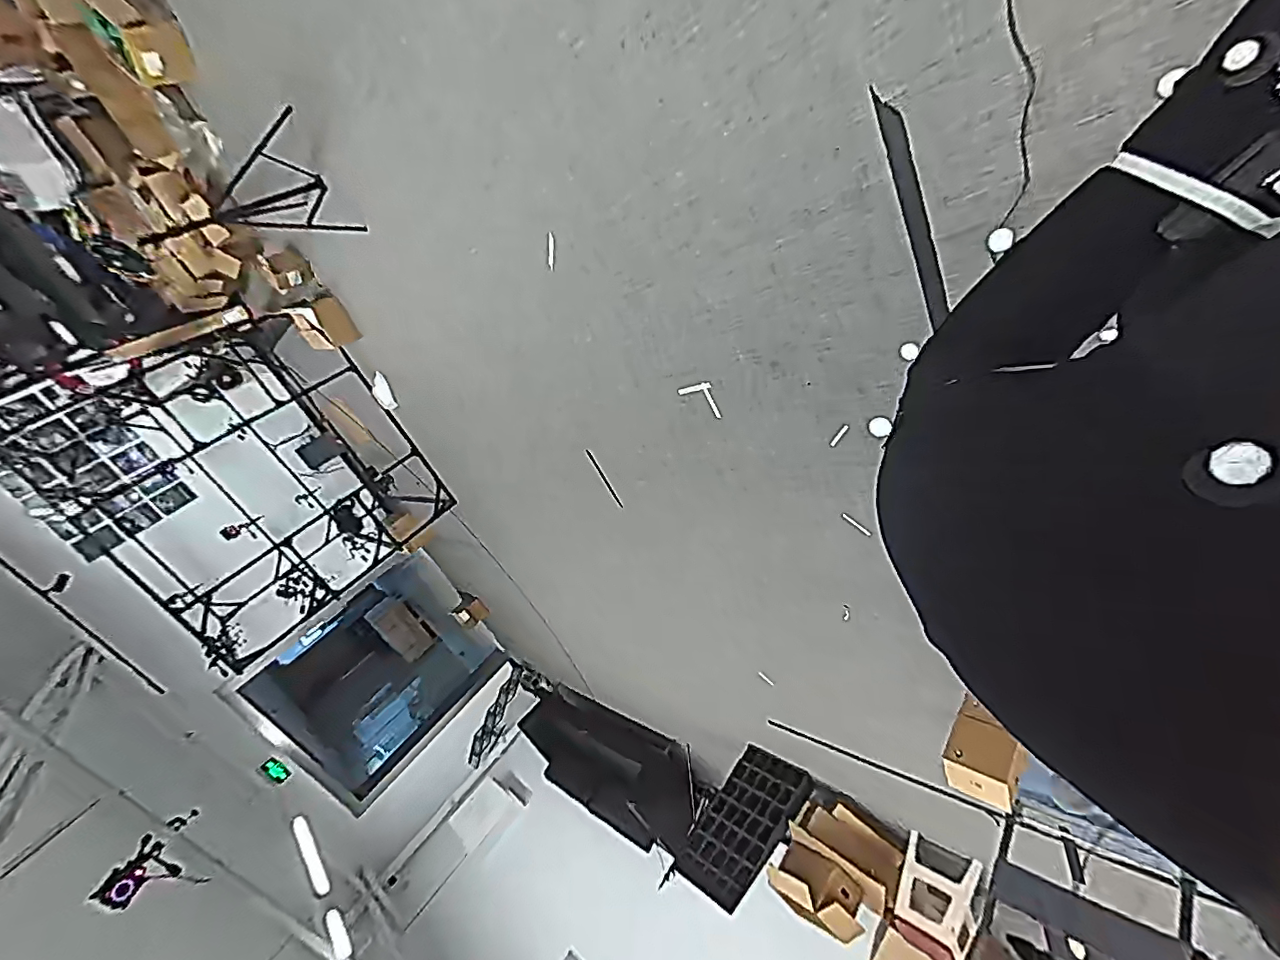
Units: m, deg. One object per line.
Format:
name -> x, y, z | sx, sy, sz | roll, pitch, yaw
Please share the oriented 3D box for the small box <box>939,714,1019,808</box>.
small box -> 1.065, 0.870, 1.690 | 0.179, 0.176, 0.168 | 8, 133, 47
